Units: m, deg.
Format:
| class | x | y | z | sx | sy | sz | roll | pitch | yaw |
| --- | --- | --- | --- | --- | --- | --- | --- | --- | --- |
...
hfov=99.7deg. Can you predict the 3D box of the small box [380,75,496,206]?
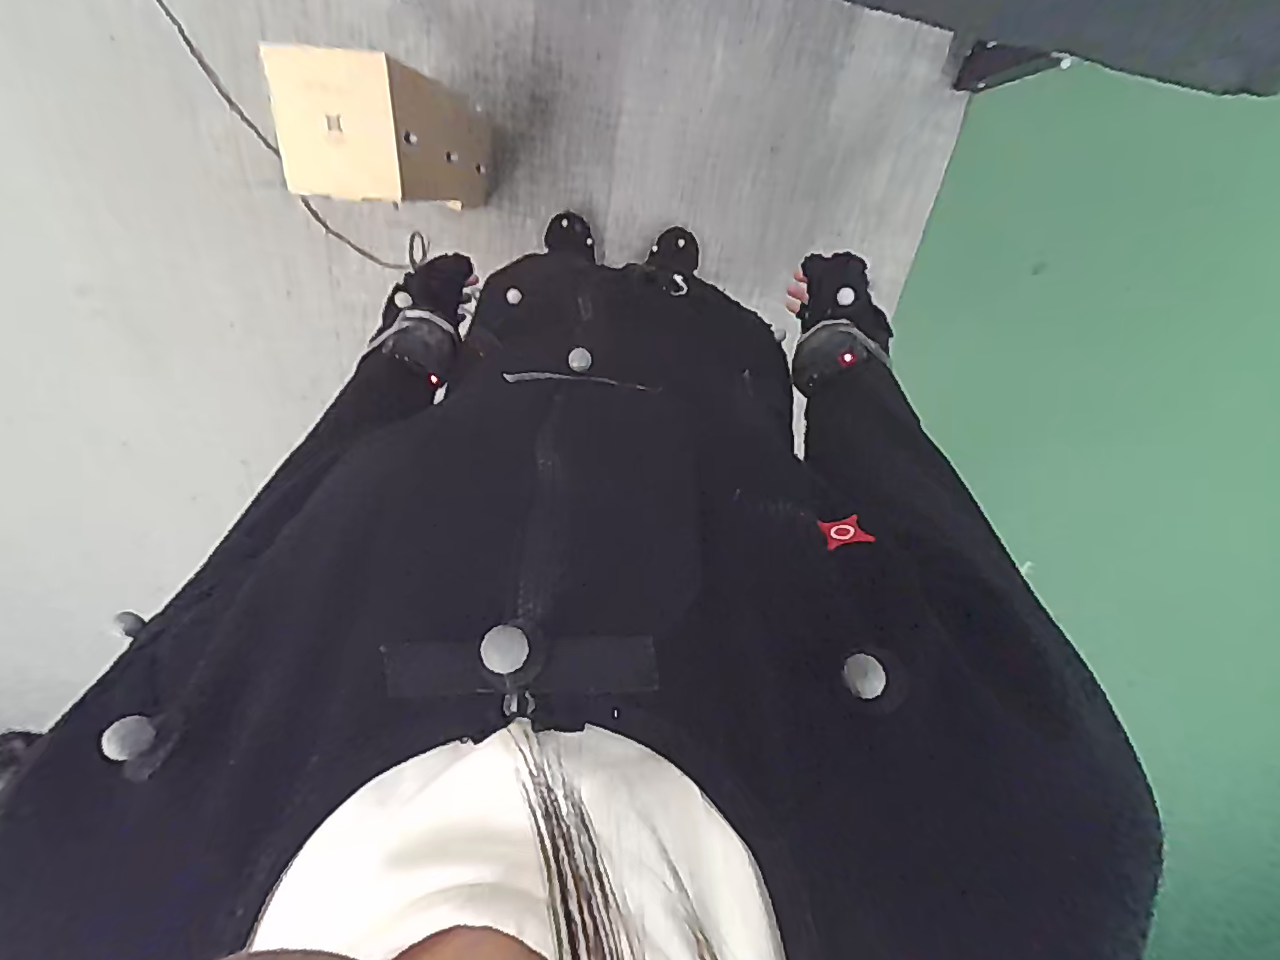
| class | x | y | z | sx | sy | sz | roll | pitch | yaw |
| --- | --- | --- | --- | --- | --- | --- | --- | --- | --- |
| small box | -0.400 | -0.675 | 1.093 | 0.168 | 0.176 | 0.179 | 16 | 118 | -6 |
